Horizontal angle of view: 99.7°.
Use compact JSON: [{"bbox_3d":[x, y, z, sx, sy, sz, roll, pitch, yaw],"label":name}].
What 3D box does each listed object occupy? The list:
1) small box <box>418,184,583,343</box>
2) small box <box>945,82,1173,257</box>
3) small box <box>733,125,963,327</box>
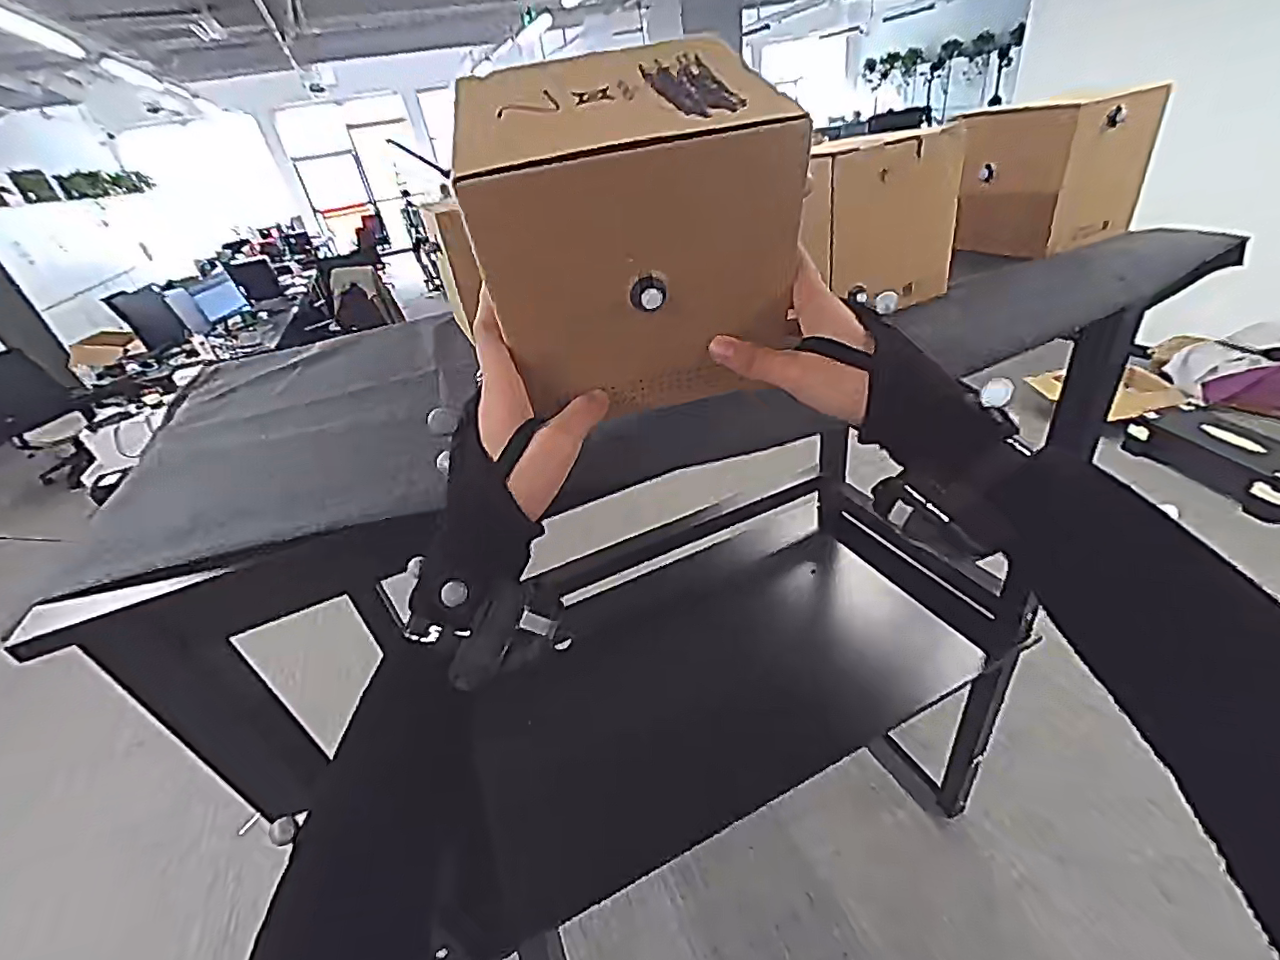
[{"bbox_3d":[-0.193,-0.305,0.761,0.168,0.176,0.179,-20,35,-17],"label":"small box"},{"bbox_3d":[0.530,-0.405,0.721,0.168,0.176,0.179,-22,34,-15],"label":"small box"},{"bbox_3d":[0.227,-0.286,0.620,0.168,0.176,0.179,-21,32,-15],"label":"small box"}]
